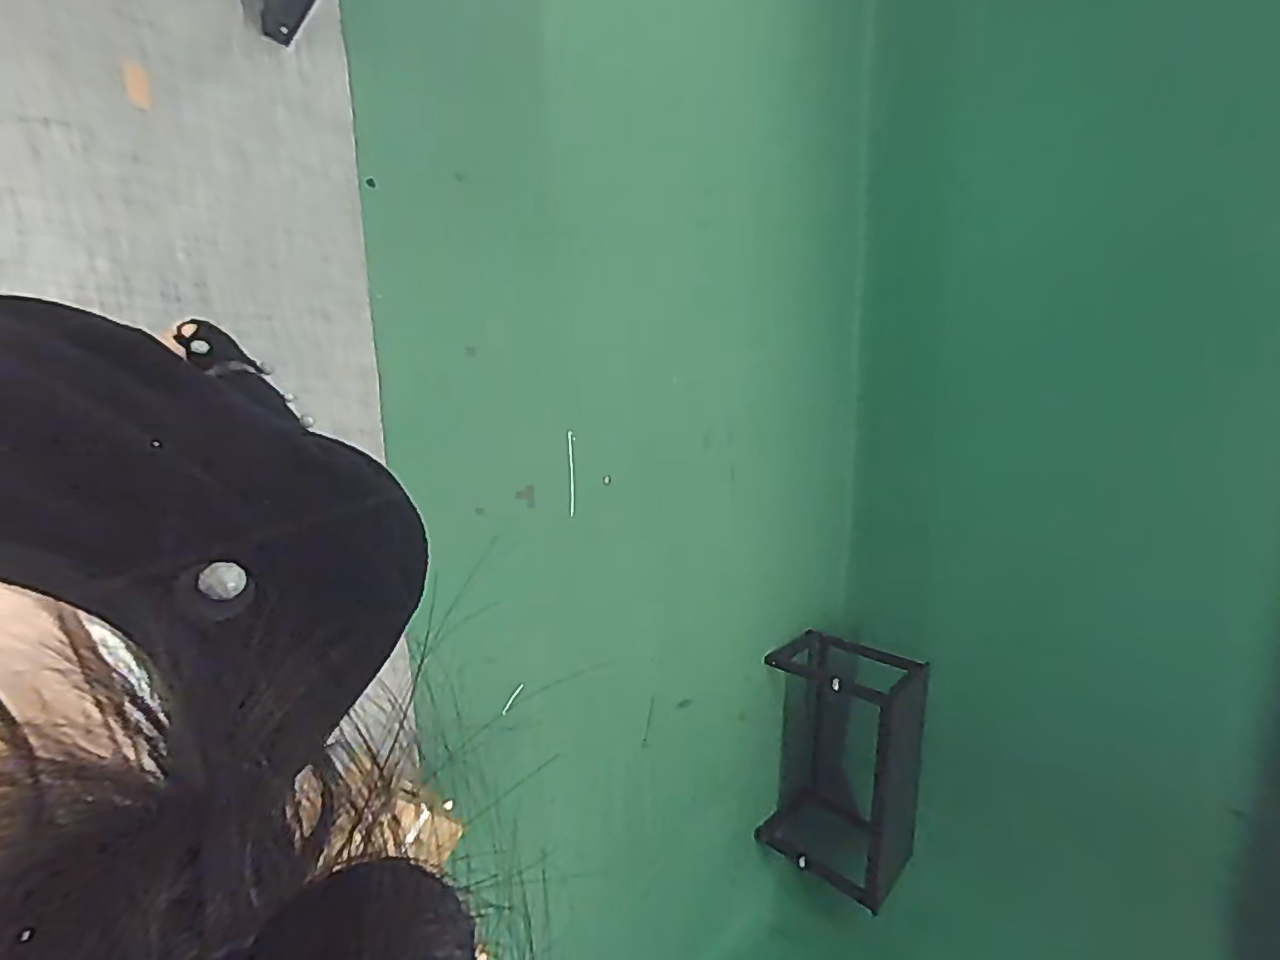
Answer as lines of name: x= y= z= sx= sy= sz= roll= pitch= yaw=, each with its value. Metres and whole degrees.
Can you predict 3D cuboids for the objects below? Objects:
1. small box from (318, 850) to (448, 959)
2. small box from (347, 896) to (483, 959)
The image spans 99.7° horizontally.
small box: x=-0.581 y=0.984 z=1.224 sx=0.168 sy=0.176 sz=0.179 roll=-53 pitch=129 yaw=-28
small box: x=-0.468 y=1.001 z=1.108 sx=0.168 sy=0.176 sz=0.179 roll=-55 pitch=131 yaw=-27
